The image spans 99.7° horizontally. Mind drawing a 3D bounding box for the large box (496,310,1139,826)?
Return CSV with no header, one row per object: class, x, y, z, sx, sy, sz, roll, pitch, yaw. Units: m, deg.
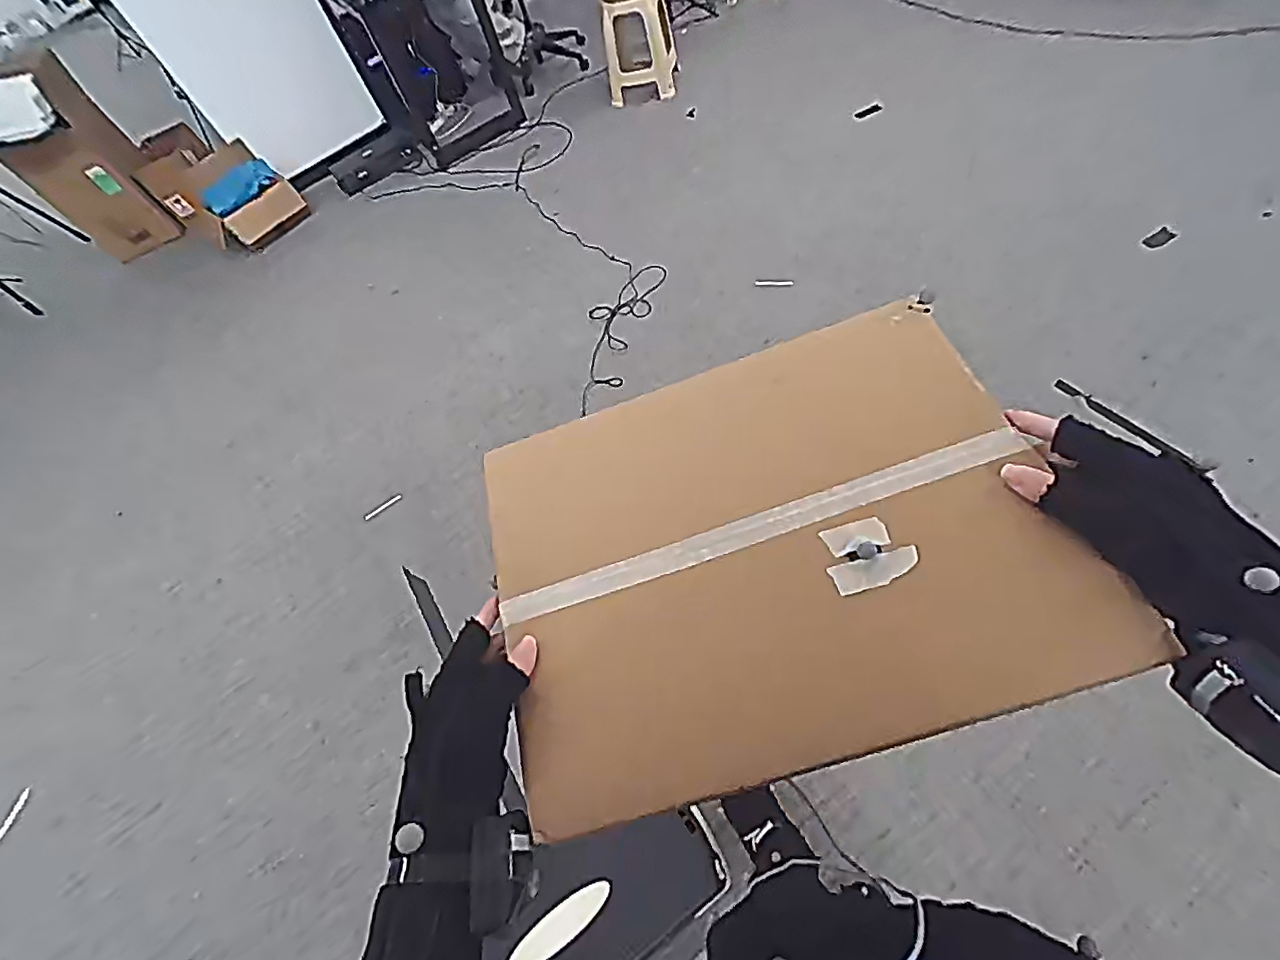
large box,0.120,0.107,0.548,0.408,0.320,0.320,-20,60,5
